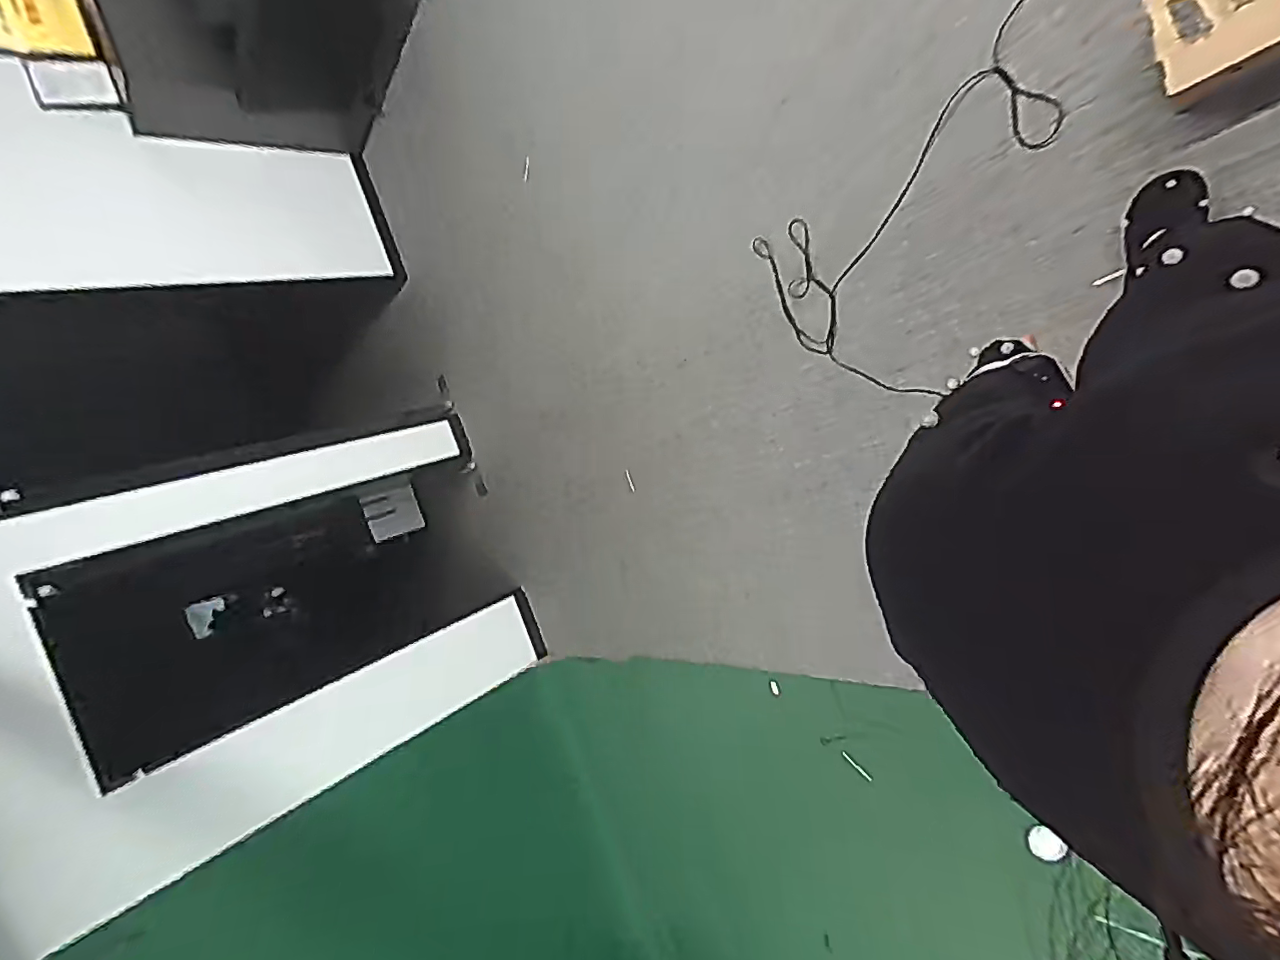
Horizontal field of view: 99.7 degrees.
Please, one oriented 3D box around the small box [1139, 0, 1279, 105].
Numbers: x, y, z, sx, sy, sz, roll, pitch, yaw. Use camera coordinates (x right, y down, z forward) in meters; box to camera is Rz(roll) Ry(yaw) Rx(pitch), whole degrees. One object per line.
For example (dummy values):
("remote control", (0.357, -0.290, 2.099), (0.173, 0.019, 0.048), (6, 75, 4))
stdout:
("small box", (0.942, -0.744, 0.867), (0.179, 0.176, 0.168), (-14, 96, 48))
